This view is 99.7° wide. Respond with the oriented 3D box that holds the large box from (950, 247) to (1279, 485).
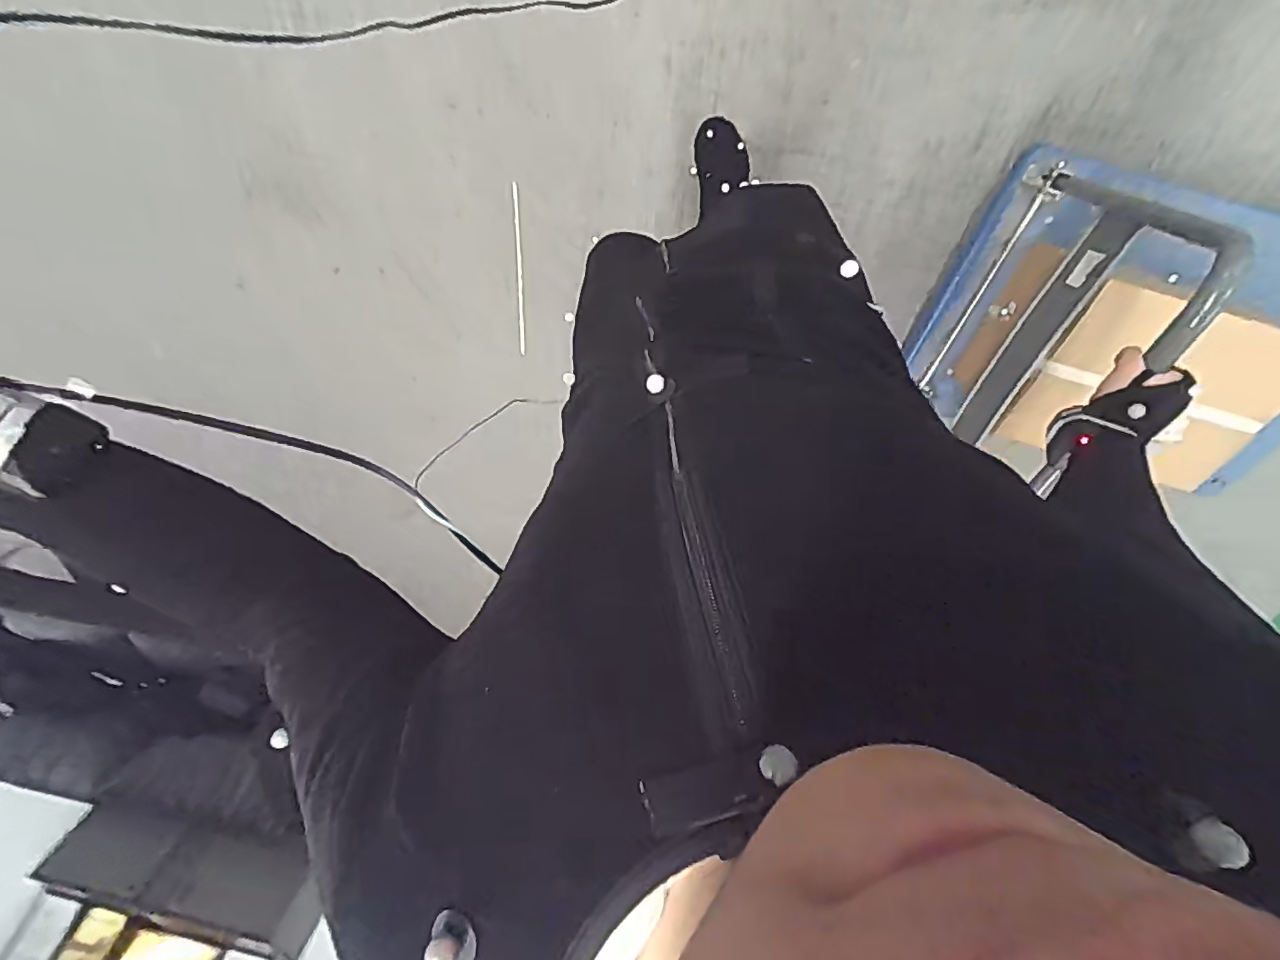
[{"bbox_3d":[0.942,-0.244,1.101,0.408,0.320,0.320,17,127,1],"label":"large box"}]
